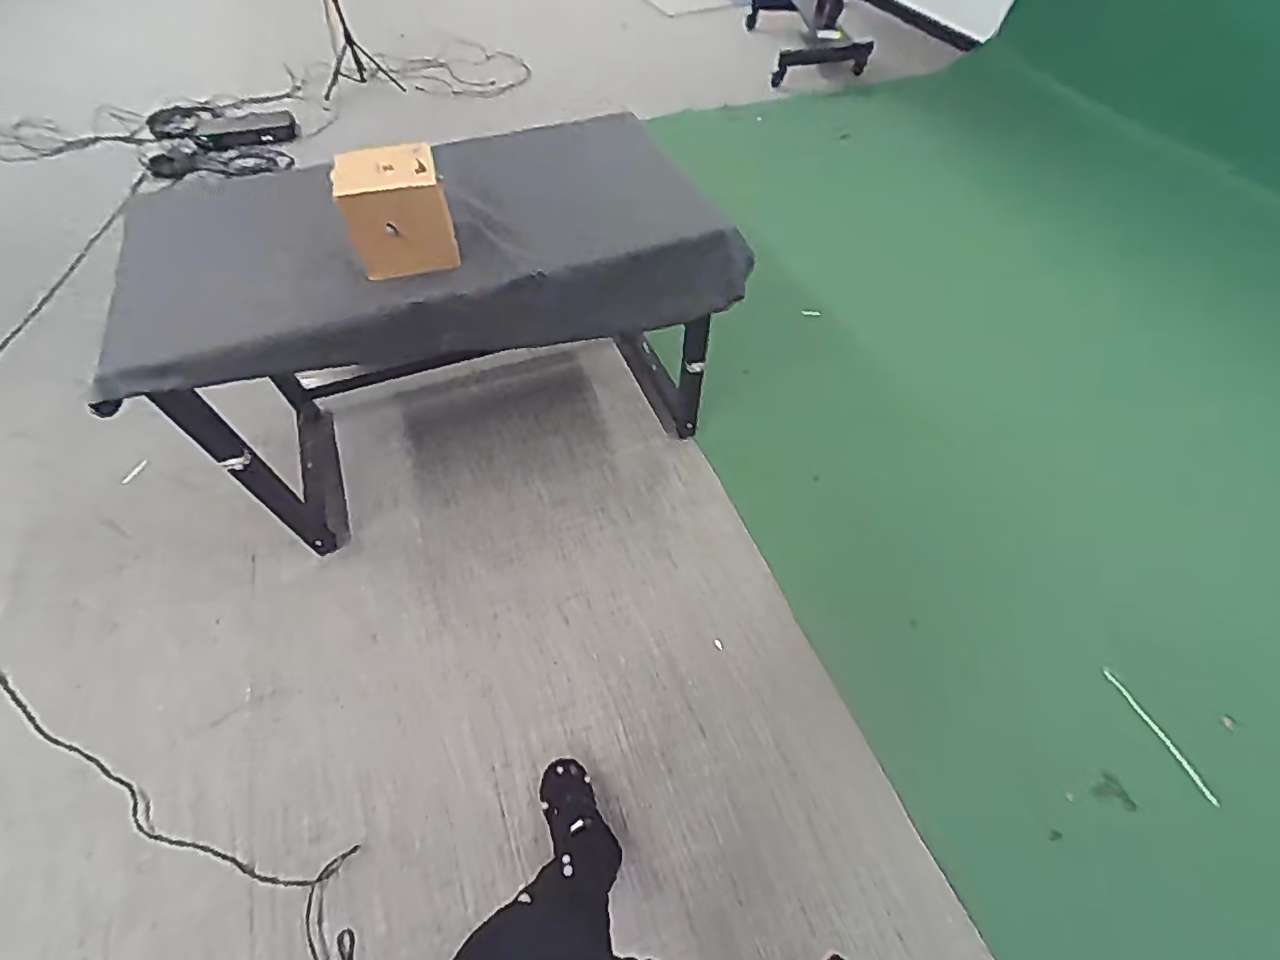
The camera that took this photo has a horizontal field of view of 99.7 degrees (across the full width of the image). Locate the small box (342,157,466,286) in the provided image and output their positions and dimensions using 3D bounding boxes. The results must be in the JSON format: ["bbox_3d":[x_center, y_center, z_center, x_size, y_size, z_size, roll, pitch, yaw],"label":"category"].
[{"bbox_3d":[-0.461,-0.506,1.068,0.179,0.176,0.168,-16,55,-12],"label":"small box"}]
